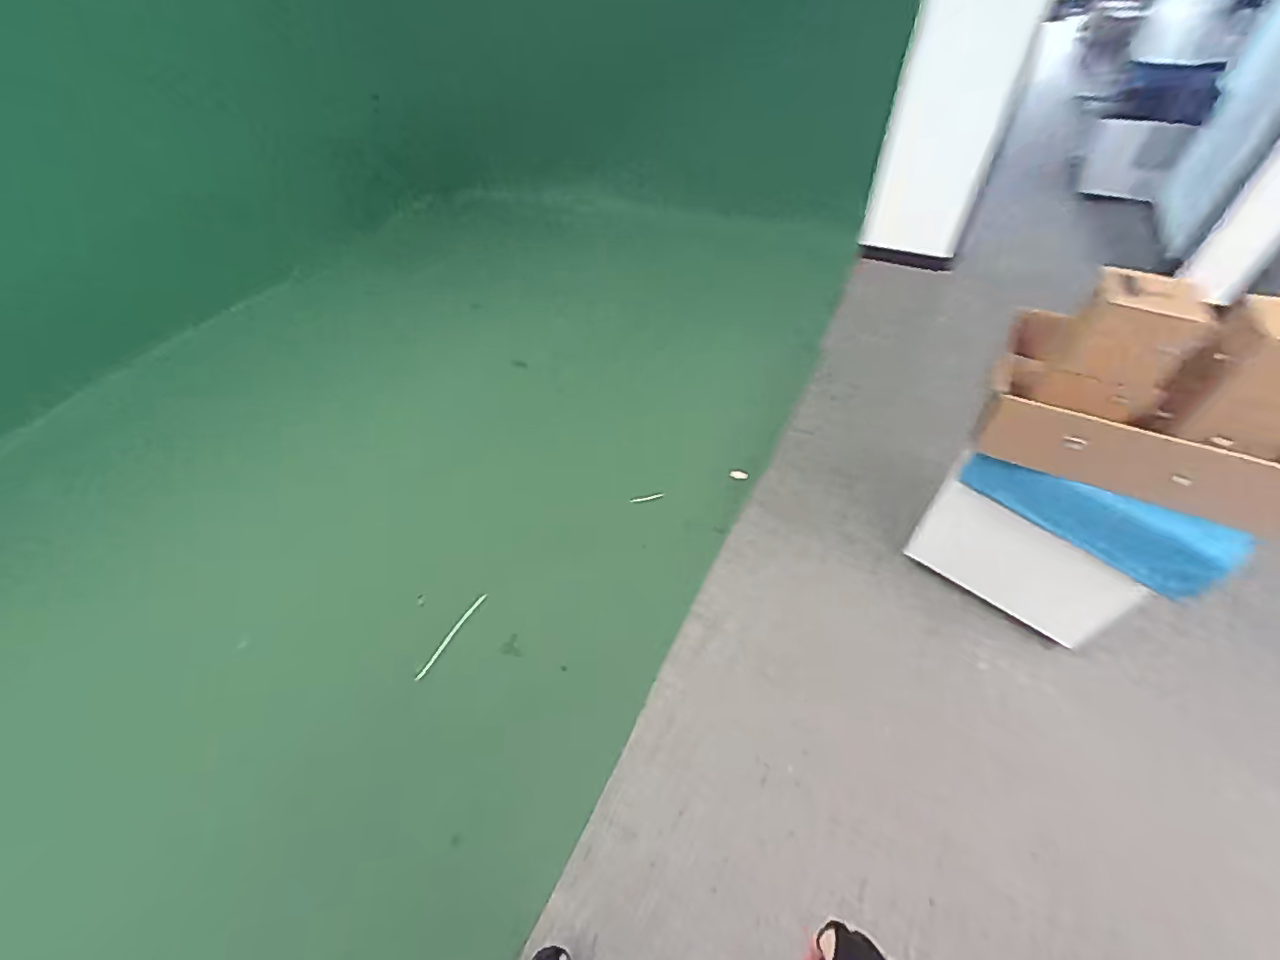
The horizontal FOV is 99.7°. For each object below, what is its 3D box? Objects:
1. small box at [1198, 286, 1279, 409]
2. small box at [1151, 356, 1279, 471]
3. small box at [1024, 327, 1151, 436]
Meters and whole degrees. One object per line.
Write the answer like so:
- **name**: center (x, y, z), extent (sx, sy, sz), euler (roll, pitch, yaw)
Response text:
- **small box**: center (1.250, -0.253, 1.055), extent (0.179, 0.176, 0.168), euler (16, 52, 18)
- **small box**: center (1.262, -0.143, 1.175), extent (0.179, 0.176, 0.168), euler (17, 52, 19)
- **small box**: center (1.038, -0.228, 1.270), extent (0.179, 0.176, 0.168), euler (21, 53, 18)
